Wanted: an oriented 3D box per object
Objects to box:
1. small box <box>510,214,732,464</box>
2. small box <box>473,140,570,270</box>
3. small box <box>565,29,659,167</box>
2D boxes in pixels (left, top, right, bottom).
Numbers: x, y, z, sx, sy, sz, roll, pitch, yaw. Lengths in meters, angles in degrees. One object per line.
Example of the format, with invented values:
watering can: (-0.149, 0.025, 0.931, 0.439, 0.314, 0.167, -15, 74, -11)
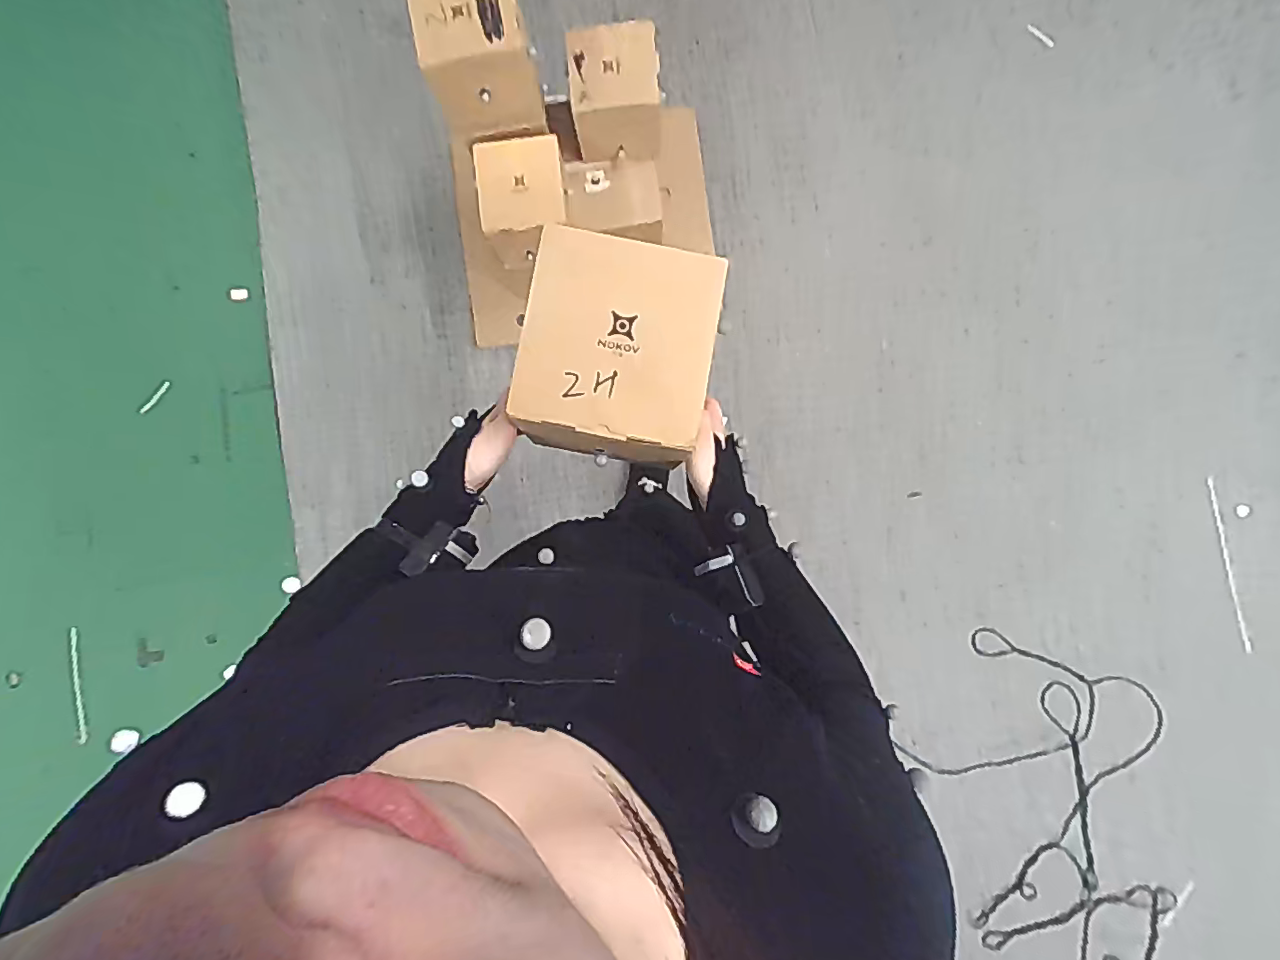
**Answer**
small box: (-0.019, -0.123, 0.540, 0.168, 0.176, 0.179, 11, 84, -2)
small box: (-0.235, -0.561, 1.120, 0.168, 0.176, 0.179, -7, 89, 0)
small box: (-0.054, -0.784, 1.127, 0.179, 0.176, 0.168, -4, 88, 2)
